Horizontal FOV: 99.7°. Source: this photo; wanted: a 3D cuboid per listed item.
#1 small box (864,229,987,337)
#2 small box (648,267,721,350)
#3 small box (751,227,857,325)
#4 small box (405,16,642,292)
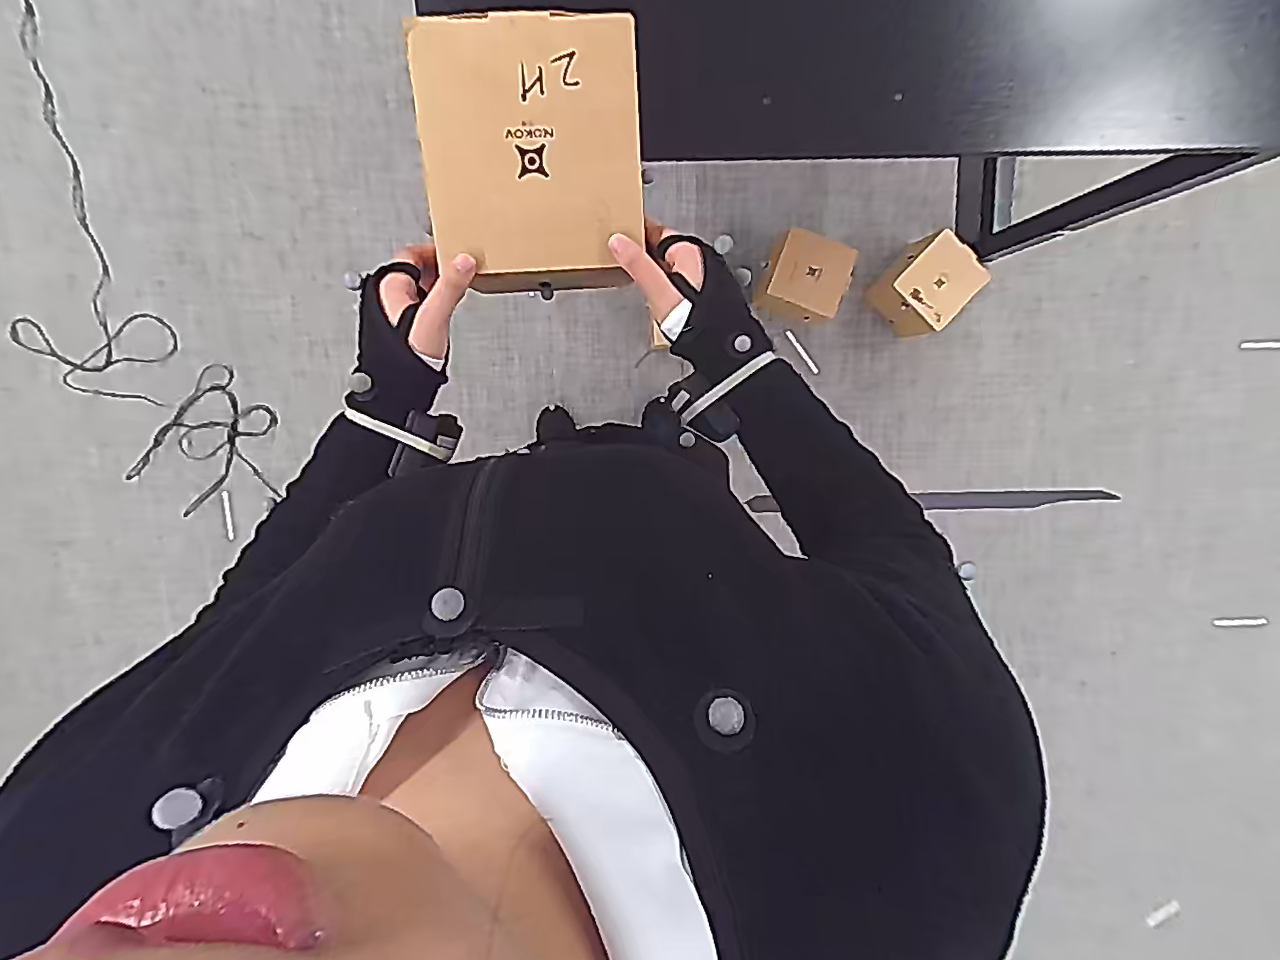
[{"bbox_3d":[0.701,-0.481,1.350,0.168,0.176,0.179,42,96,-7],"label":"small box"},{"bbox_3d":[0.107,-0.422,1.349,0.168,0.176,0.179,-2,101,-1],"label":"small box"},{"bbox_3d":[0.399,-0.496,1.344,0.179,0.176,0.168,19,98,-3],"label":"small box"},{"bbox_3d":[-0.088,-0.267,0.487,0.168,0.176,0.179,-5,104,-4],"label":"small box"}]
